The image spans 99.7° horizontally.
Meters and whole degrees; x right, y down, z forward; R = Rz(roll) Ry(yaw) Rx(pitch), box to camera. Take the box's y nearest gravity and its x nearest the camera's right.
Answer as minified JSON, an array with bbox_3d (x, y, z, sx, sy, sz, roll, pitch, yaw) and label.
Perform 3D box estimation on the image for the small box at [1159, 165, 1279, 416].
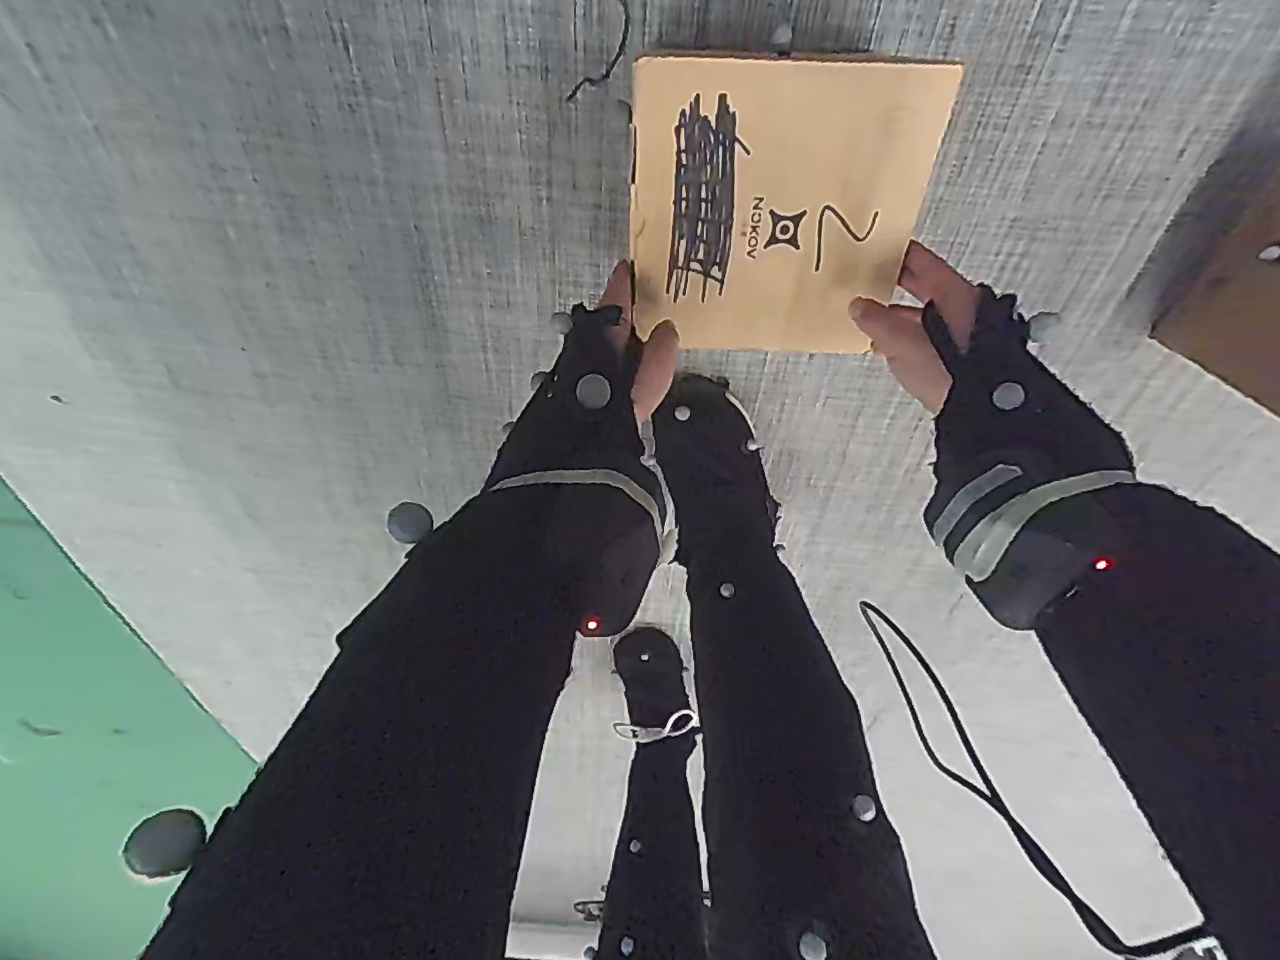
[{"bbox_3d":[0.588,-0.144,0.417,0.179,0.176,0.168,6,130,-1],"label":"small box"}]
